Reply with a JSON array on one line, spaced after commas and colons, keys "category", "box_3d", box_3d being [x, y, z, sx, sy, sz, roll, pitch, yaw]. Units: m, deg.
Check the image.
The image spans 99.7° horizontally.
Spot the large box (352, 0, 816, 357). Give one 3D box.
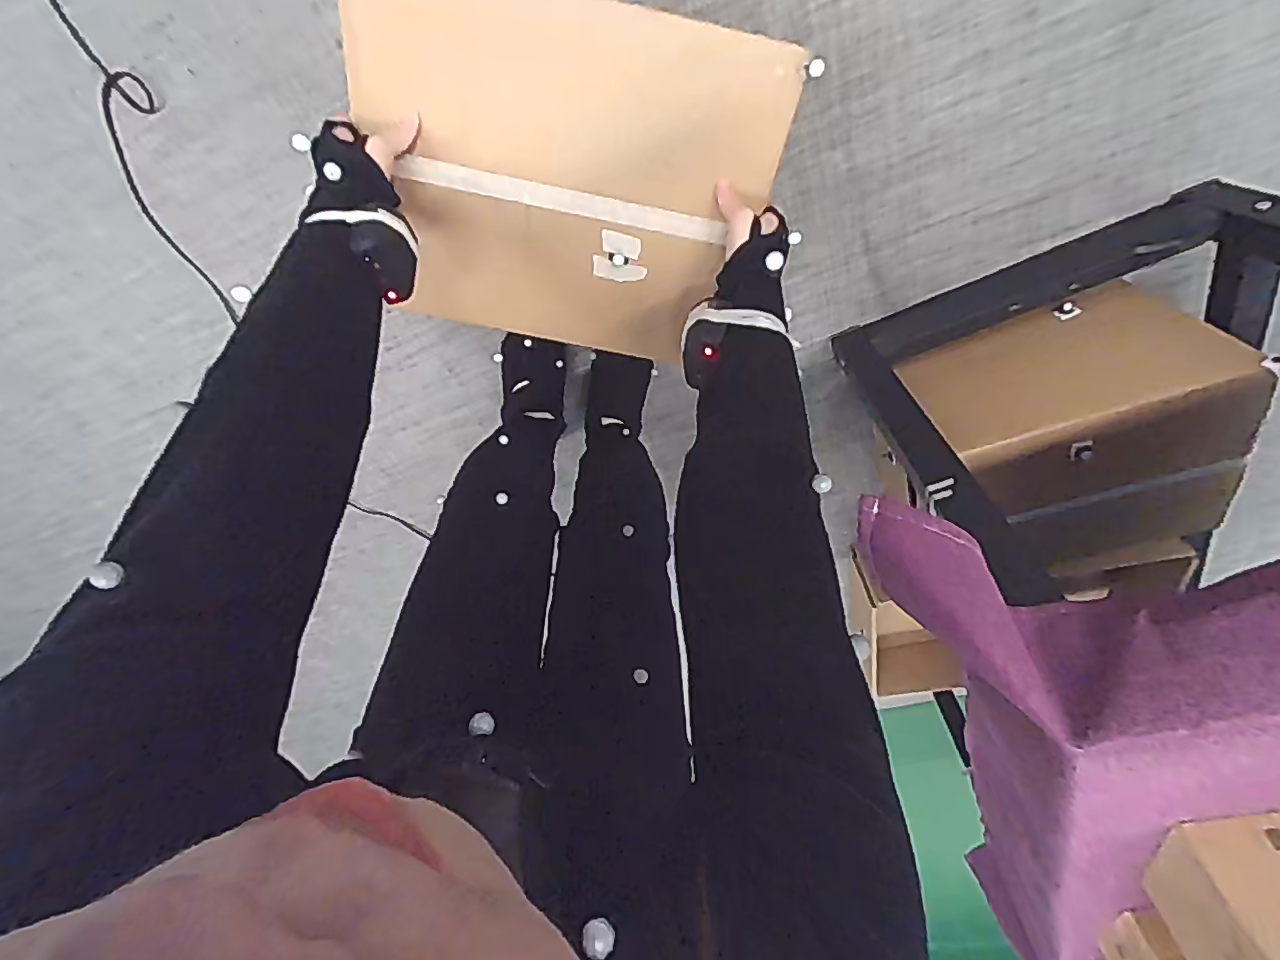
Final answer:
[{"category": "large box", "box_3d": [-0.065, -0.387, 0.656, 0.408, 0.320, 0.320, 10, 130, -5]}]
